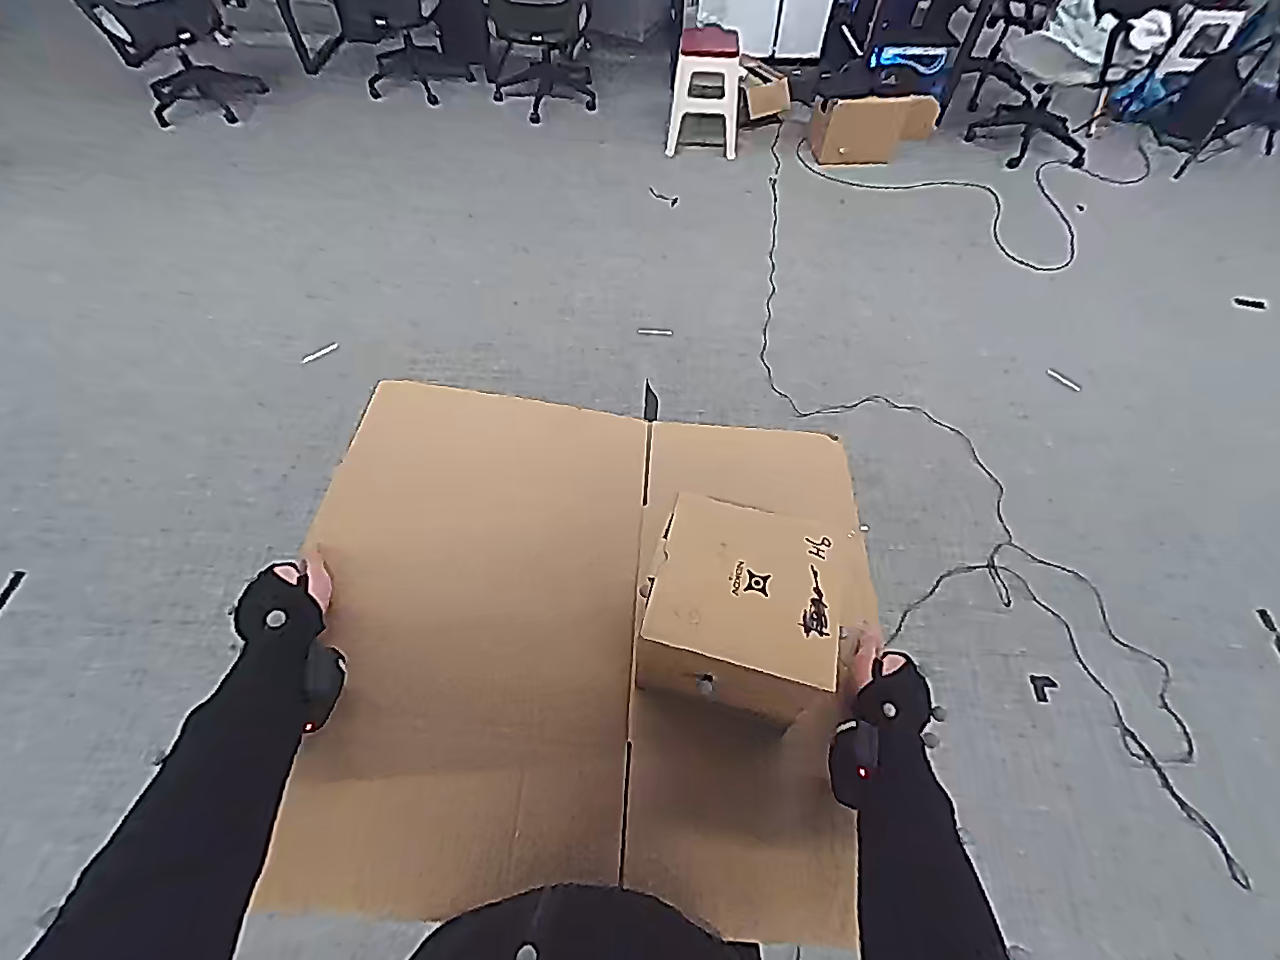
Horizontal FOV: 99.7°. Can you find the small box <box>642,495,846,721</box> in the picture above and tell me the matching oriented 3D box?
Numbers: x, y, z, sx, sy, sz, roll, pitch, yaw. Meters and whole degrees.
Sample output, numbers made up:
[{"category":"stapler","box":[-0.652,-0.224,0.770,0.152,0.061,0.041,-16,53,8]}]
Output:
[{"category":"small box","box":[0.106,0.143,0.587,0.179,0.176,0.168,13,56,9]}]
